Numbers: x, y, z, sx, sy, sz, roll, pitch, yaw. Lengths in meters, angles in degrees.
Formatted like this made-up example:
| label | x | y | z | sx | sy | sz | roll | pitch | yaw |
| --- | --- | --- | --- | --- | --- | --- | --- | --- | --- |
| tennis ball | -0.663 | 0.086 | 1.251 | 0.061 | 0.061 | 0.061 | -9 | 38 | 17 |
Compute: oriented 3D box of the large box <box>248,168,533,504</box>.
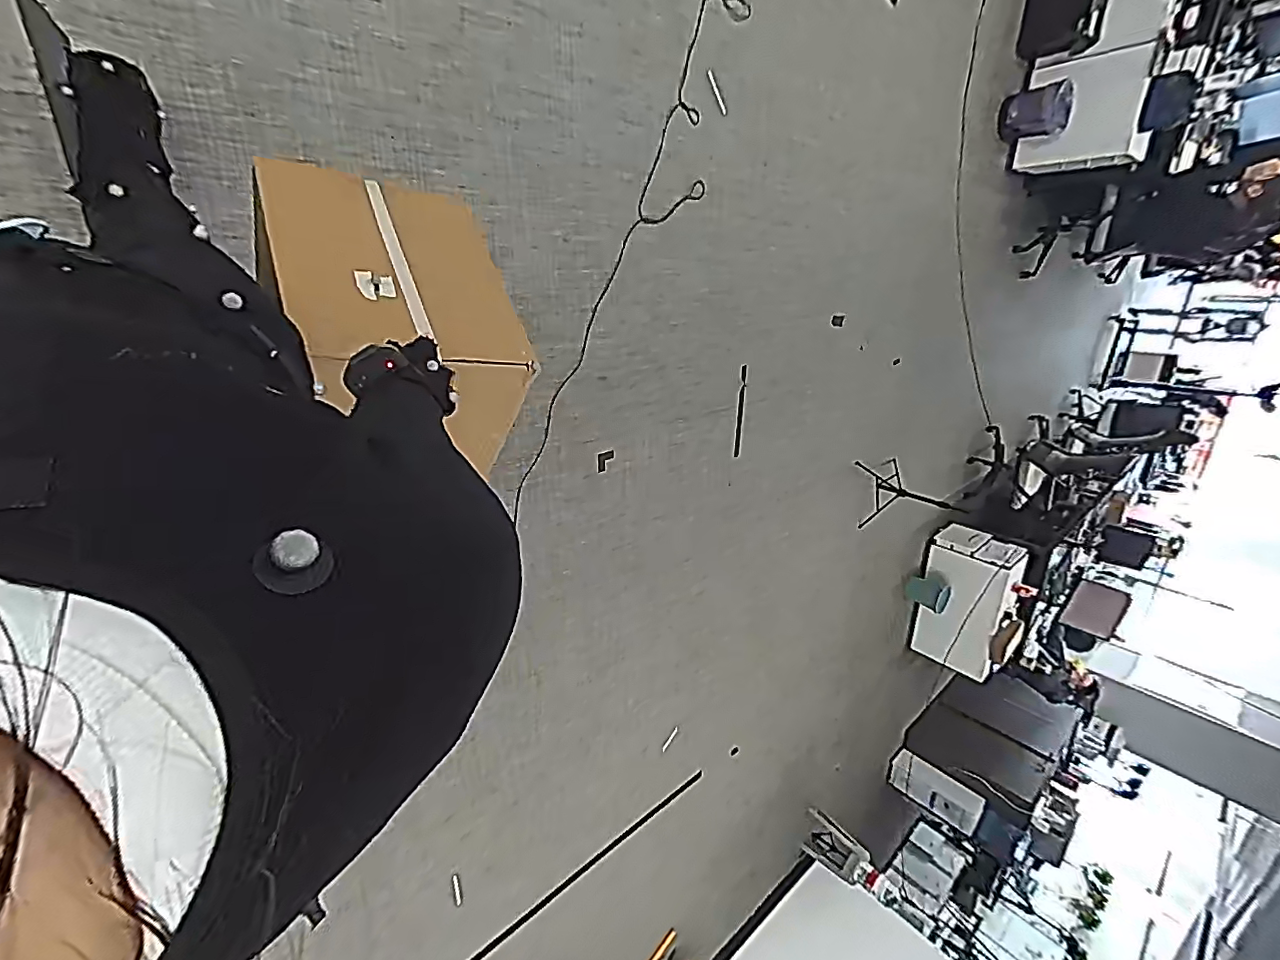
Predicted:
| label | x | y | z | sx | sy | sz | roll | pitch | yaw |
| --- | --- | --- | --- | --- | --- | --- | --- | --- | --- |
| large box | -0.433 | -0.220 | 0.897 | 0.320 | 0.408 | 0.320 | -7 | 149 | -38 |
